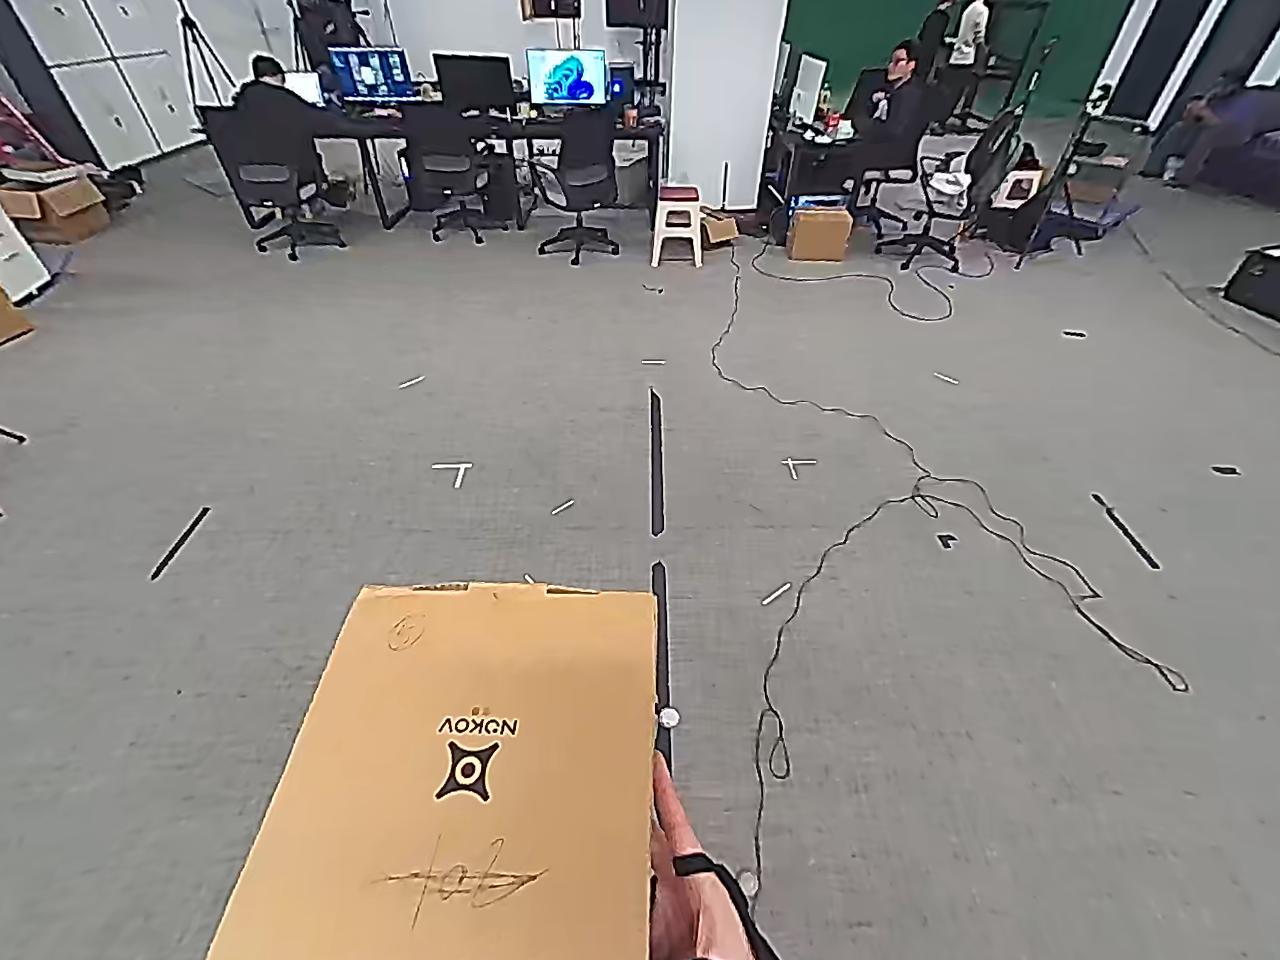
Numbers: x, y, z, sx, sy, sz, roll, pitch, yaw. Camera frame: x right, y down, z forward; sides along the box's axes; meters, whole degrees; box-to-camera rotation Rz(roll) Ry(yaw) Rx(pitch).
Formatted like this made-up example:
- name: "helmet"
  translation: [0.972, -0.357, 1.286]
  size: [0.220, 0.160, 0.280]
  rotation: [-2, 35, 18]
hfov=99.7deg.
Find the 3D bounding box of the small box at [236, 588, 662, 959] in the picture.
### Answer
- name: "small box"
  translation: [-0.072, 0.182, 0.318]
  size: [0.168, 0.176, 0.179]
  rotation: [1, 50, 1]
